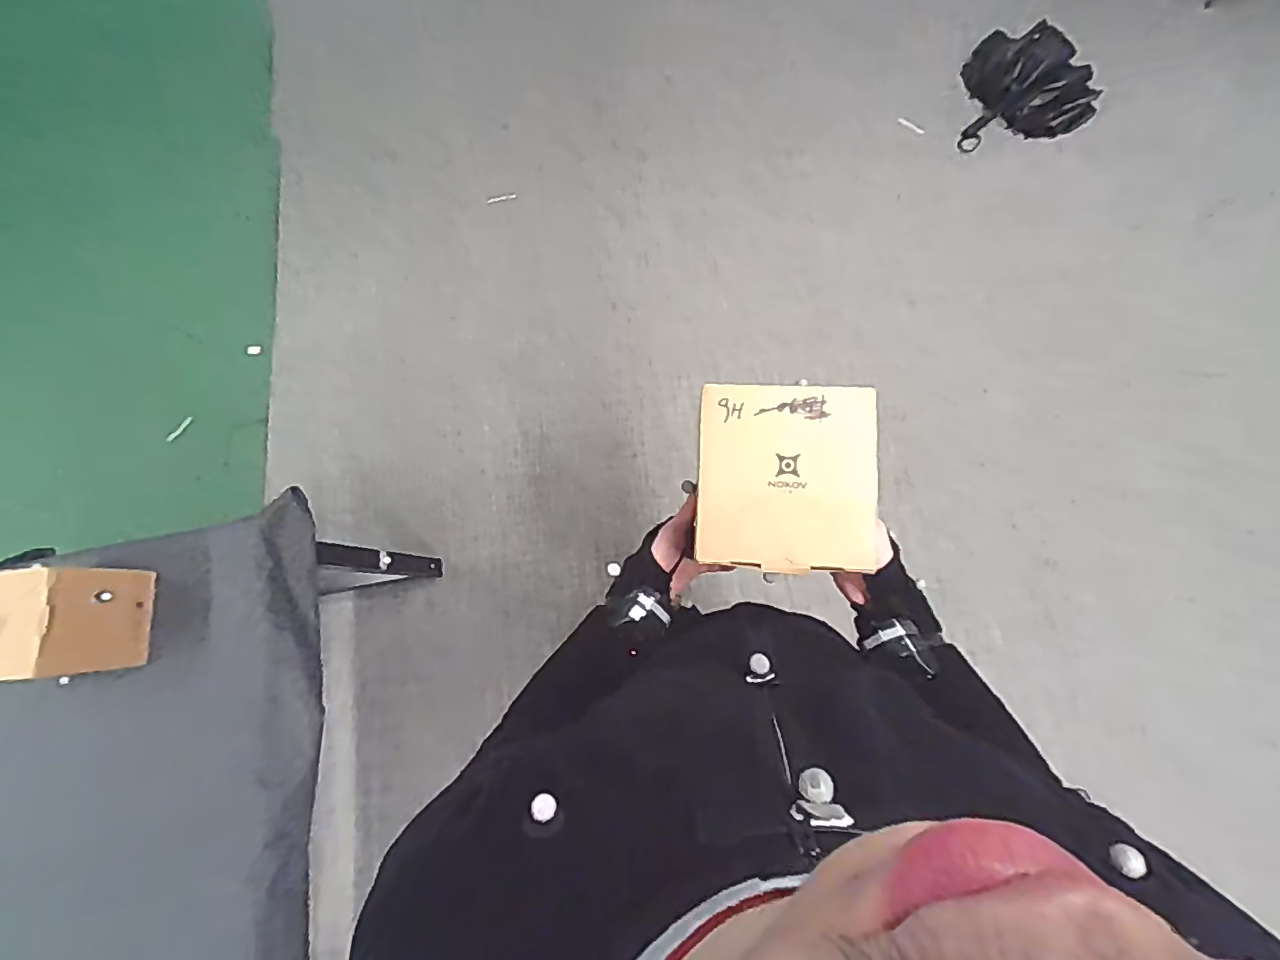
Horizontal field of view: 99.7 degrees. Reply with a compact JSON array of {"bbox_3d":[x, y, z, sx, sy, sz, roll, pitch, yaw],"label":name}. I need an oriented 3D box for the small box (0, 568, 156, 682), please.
[{"bbox_3d":[-0.961,0.240,0.895,0.179,0.176,0.168,-7,75,7],"label":"small box"}]

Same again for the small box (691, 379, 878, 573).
[{"bbox_3d":[0.141,0.003,0.578,0.168,0.176,0.179,2,82,4],"label":"small box"}]
